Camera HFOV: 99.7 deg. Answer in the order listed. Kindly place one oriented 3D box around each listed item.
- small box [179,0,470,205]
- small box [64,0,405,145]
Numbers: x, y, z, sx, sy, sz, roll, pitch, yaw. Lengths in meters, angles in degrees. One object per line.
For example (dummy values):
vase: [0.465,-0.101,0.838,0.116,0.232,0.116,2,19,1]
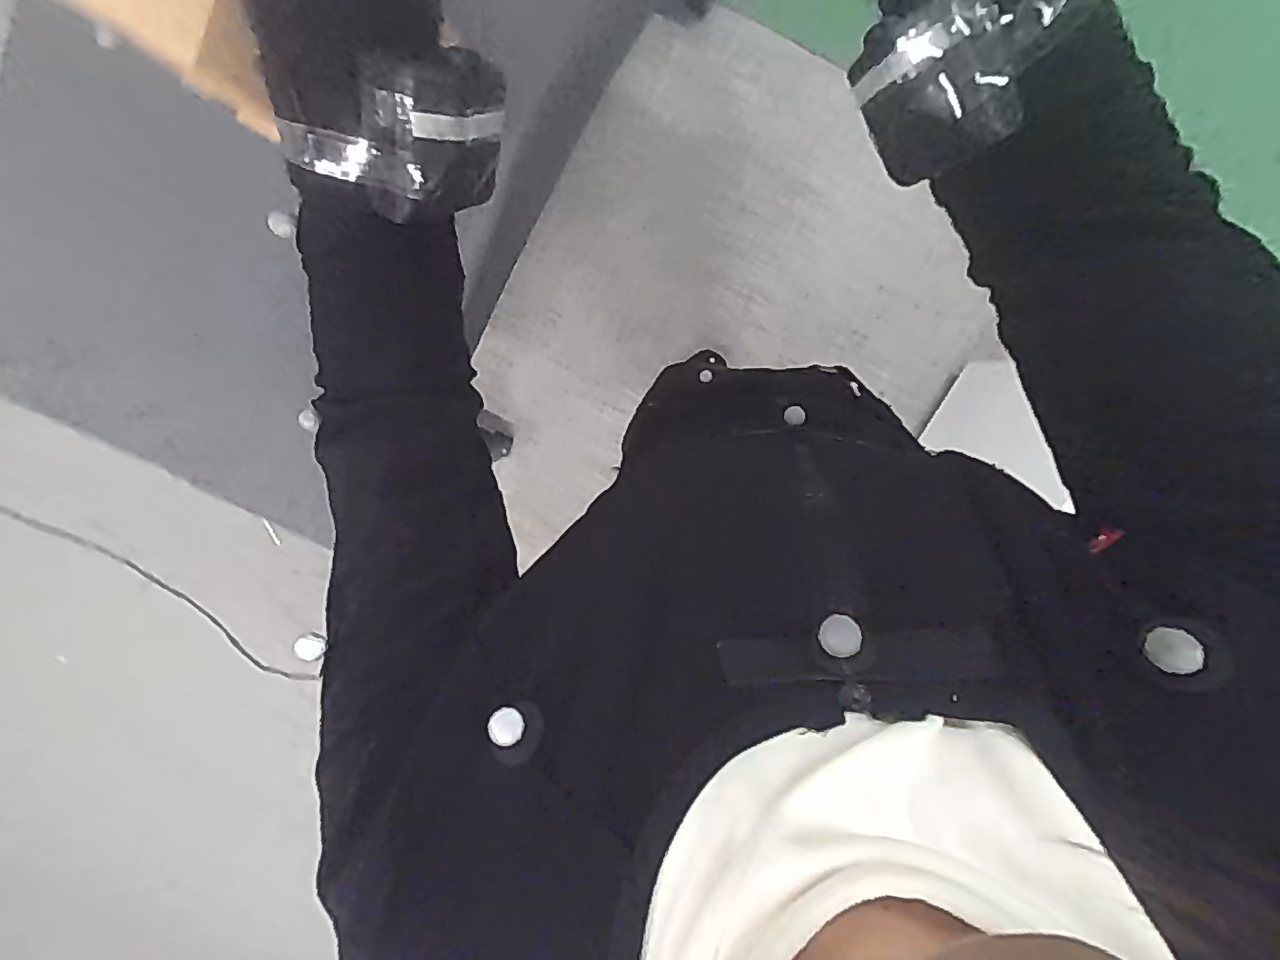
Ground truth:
small box: [-0.301,-0.417,0.550,0.168,0.176,0.179,30,103,-2]
small box: [-0.311,-0.383,0.389,0.179,0.176,0.168,27,102,0]
